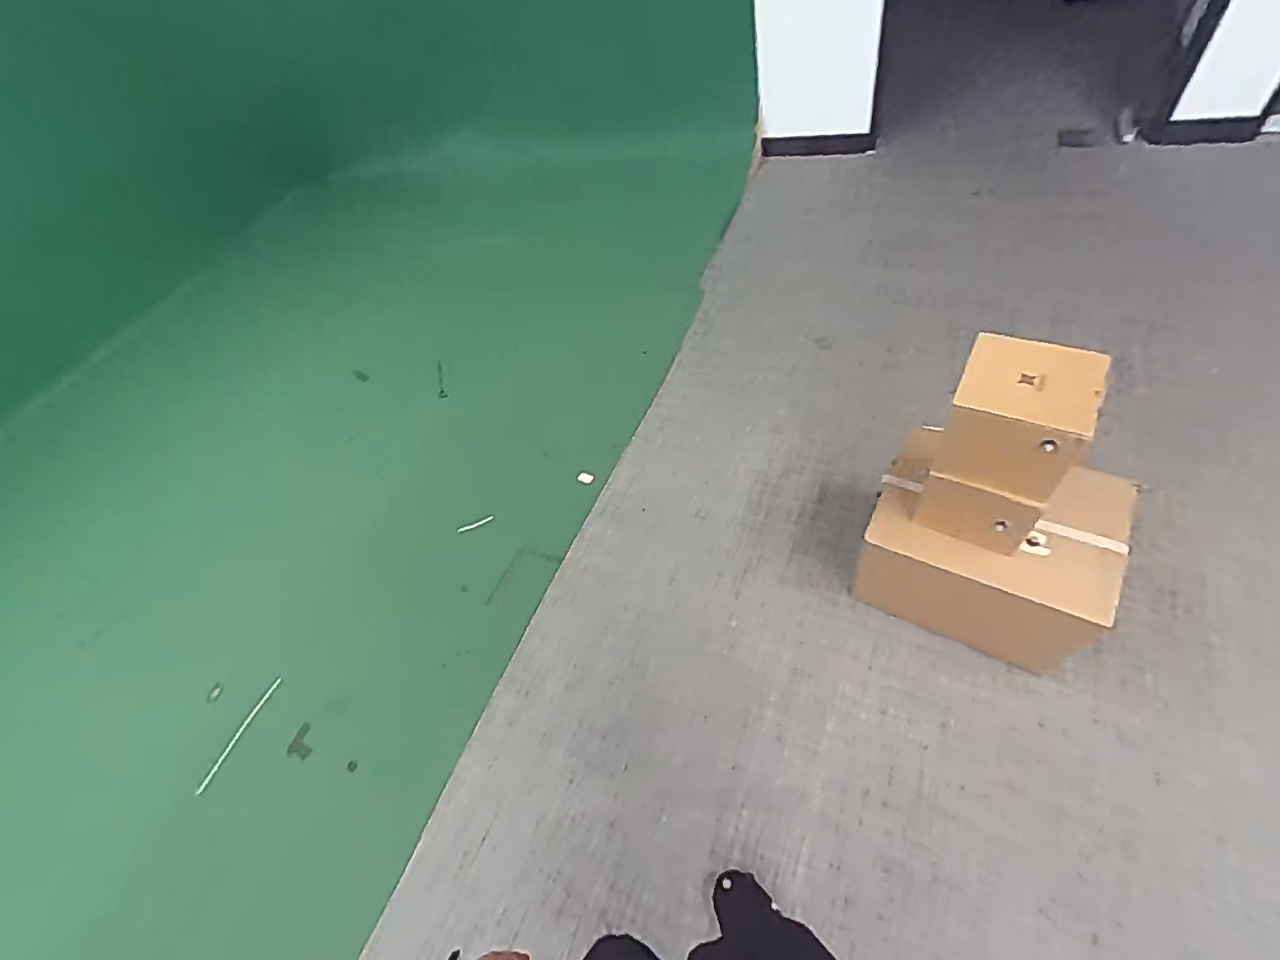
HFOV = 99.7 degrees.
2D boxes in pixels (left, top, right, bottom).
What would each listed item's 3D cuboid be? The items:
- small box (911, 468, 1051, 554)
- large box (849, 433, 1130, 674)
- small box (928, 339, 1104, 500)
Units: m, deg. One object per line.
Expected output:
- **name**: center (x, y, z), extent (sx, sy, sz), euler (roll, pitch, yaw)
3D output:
- **small box**: center (0.616, 0.011, 0.978), extent (0.179, 0.176, 0.168), euler (20, 62, 28)
- **large box**: center (0.707, 0.154, 1.156), extent (0.408, 0.320, 0.320), euler (20, 65, 25)
- **small box**: center (0.582, -0.093, 0.857), extent (0.179, 0.176, 0.168), euler (20, 62, 26)
